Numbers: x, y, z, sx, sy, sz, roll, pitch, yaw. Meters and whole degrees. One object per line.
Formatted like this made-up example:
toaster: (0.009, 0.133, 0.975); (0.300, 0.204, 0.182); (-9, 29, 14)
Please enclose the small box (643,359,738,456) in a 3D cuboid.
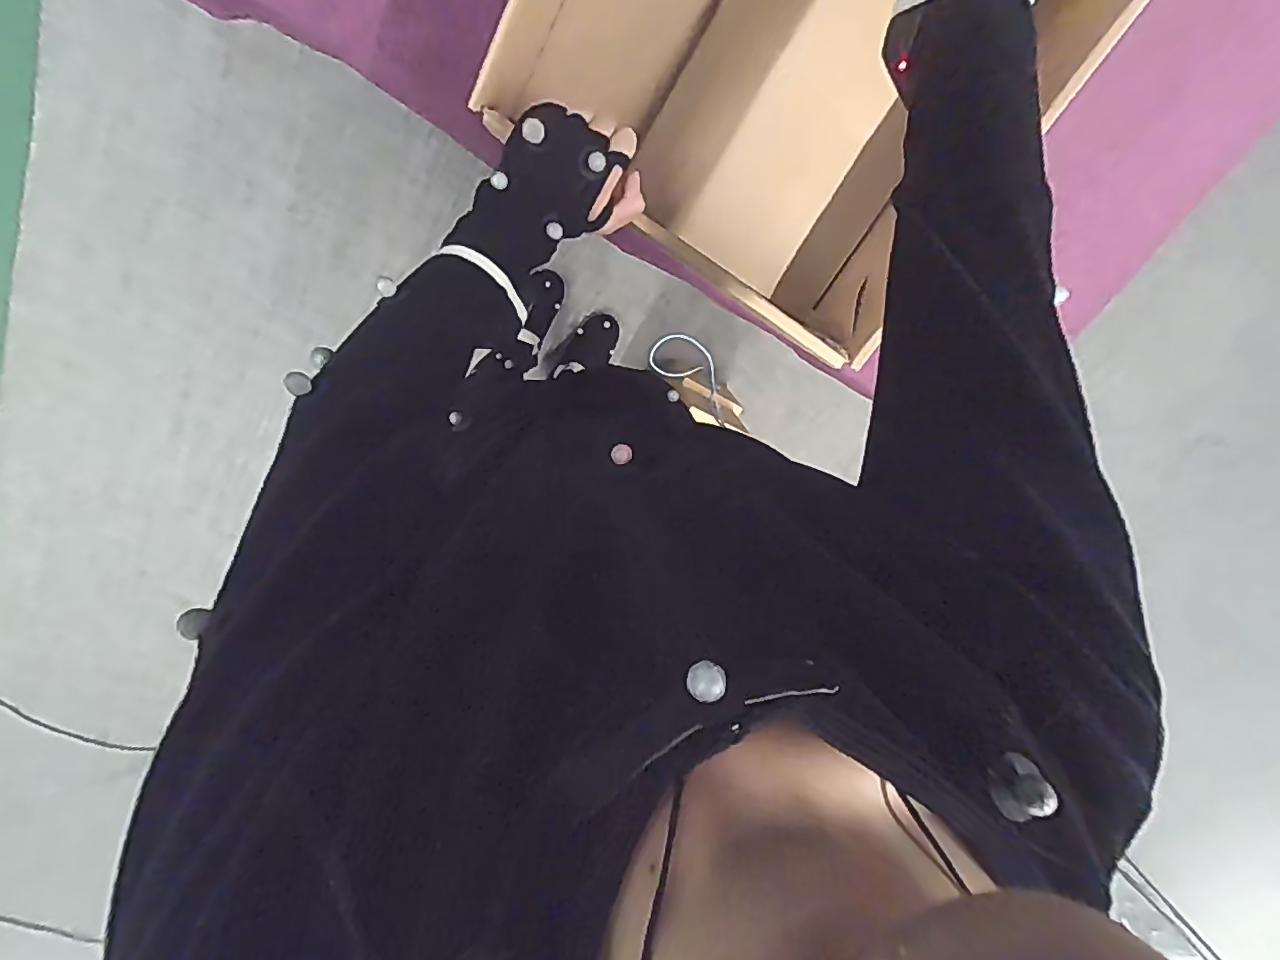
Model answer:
small box: (0.125, -0.196, 1.419); (0.179, 0.176, 0.168); (25, 112, -18)
